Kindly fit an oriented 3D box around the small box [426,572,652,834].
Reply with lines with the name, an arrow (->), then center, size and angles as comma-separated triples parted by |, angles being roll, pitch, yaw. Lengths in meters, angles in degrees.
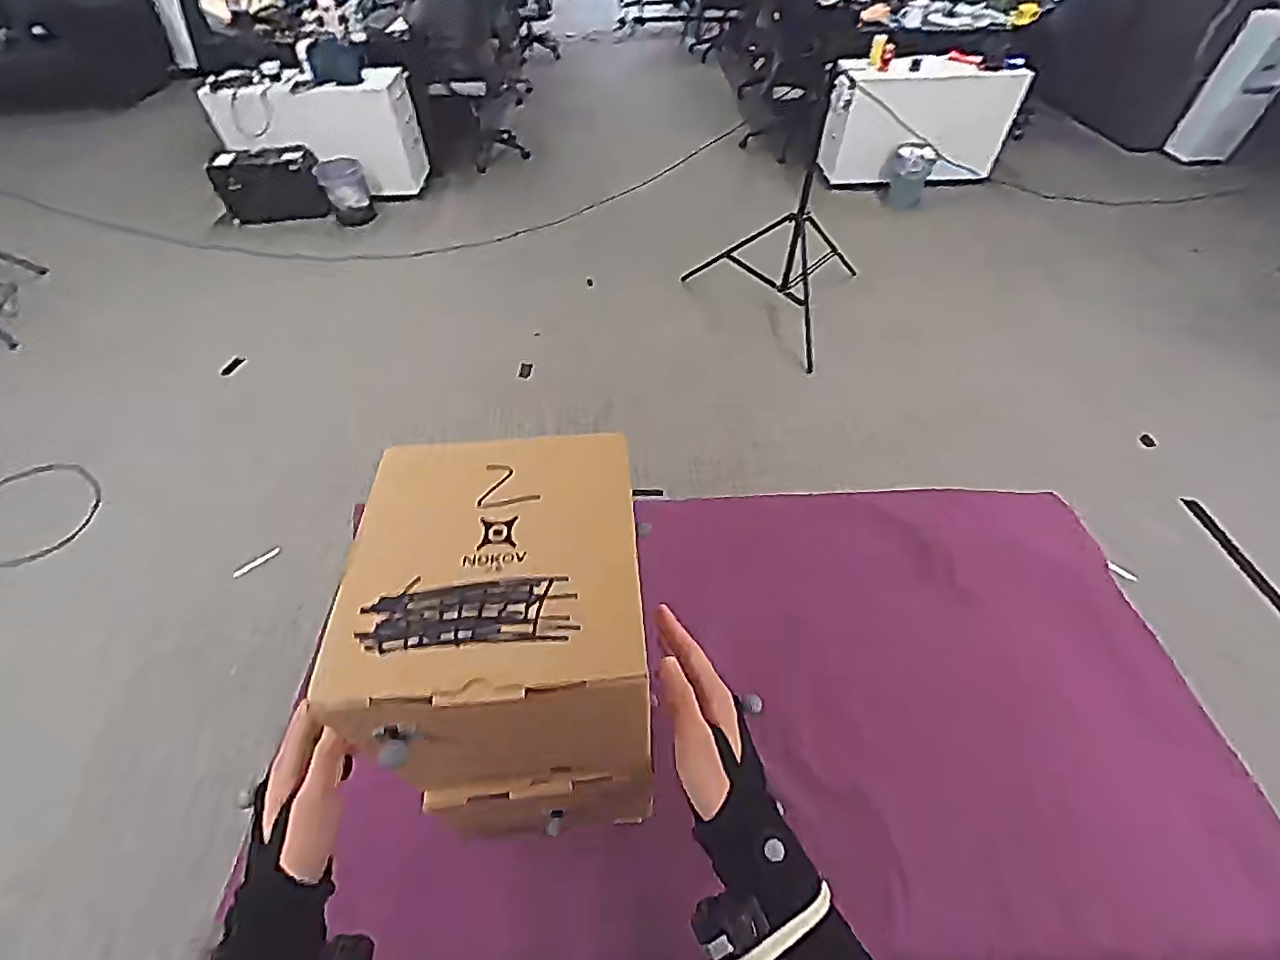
small box -> -0.080, 0.210, 0.499 | 0.168, 0.176, 0.179 | -7, 50, -5
